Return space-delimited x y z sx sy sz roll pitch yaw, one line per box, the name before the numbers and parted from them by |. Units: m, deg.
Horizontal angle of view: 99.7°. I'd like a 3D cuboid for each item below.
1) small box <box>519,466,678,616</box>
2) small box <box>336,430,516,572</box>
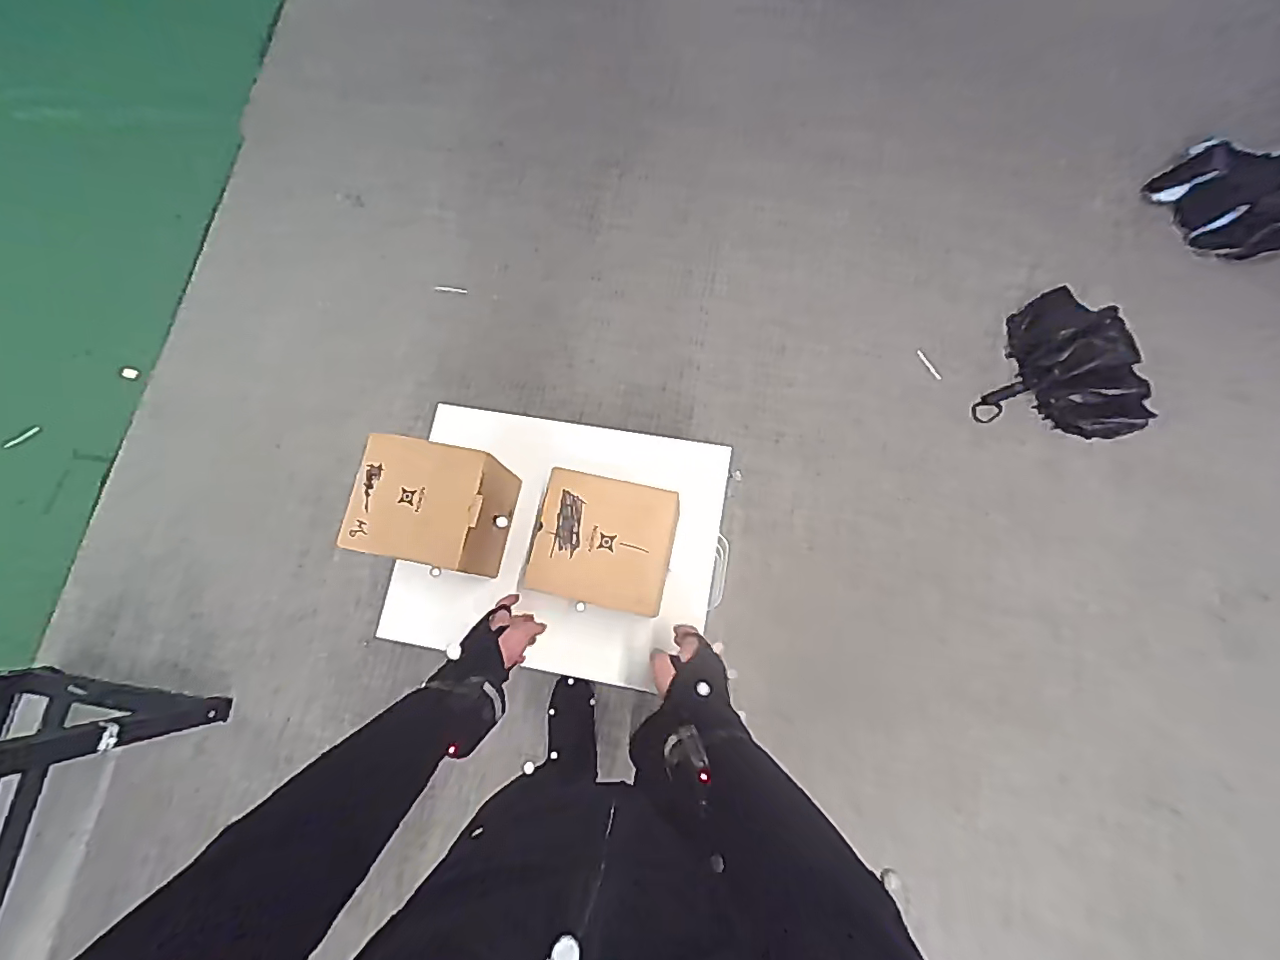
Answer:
small box | -0.047 0.092 0.769 0.179 0.176 0.168 12 79 7
small box | -0.300 0.041 0.801 0.179 0.176 0.168 10 78 5
